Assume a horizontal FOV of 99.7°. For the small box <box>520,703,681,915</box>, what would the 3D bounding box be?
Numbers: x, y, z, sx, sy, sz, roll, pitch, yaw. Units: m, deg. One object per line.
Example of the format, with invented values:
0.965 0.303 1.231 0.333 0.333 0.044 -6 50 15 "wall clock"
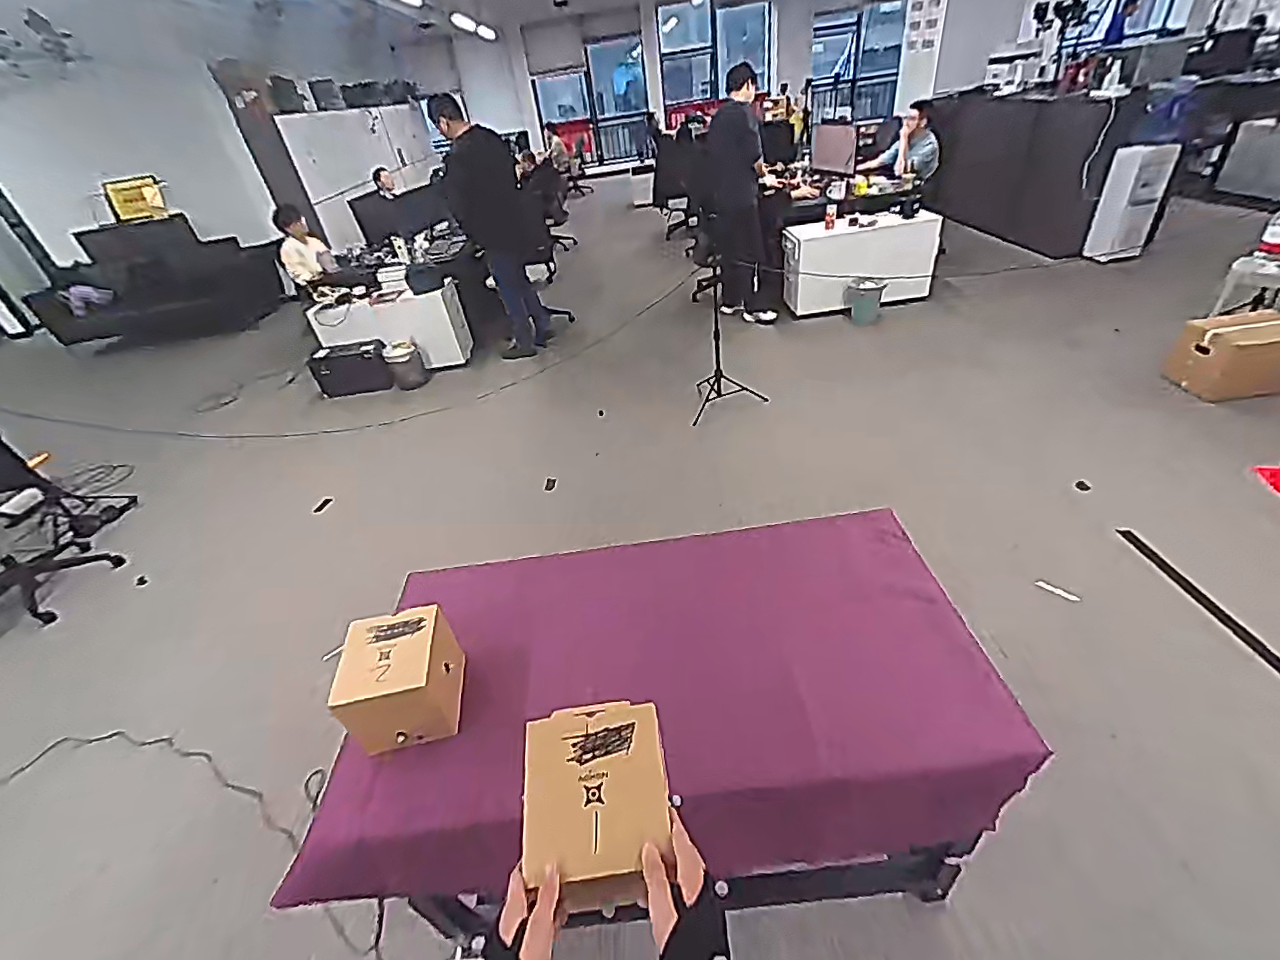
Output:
-0.044 0.406 0.669 0.168 0.176 0.179 -9 44 -1 "small box"
